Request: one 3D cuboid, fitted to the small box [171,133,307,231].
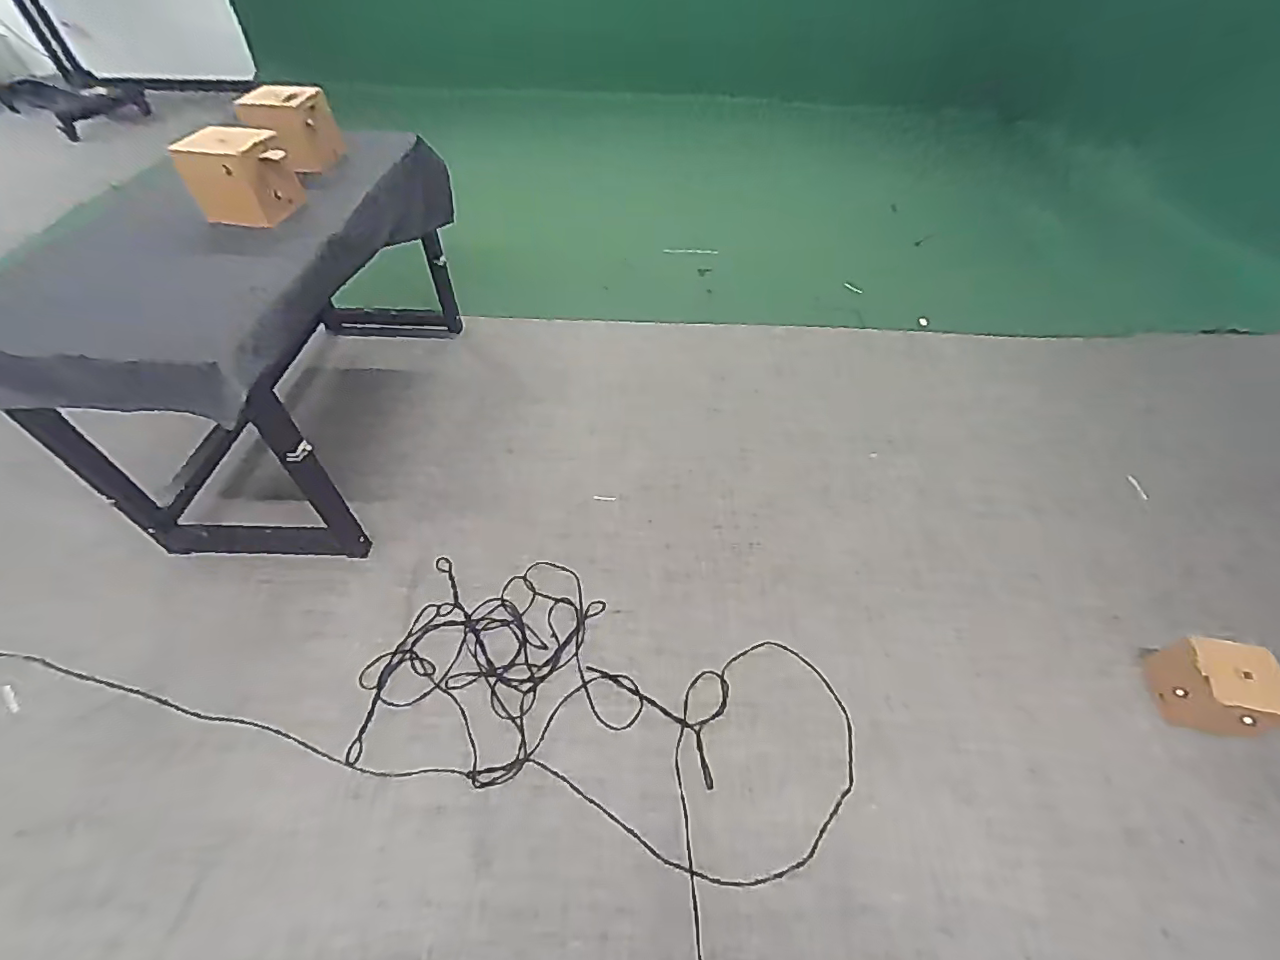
[{"bbox_3d":[-0.978,-0.736,1.338,0.179,0.176,0.168,7,49,4],"label":"small box"}]

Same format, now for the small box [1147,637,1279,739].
[{"bbox_3d":[1.374,0.499,1.289,0.179,0.176,0.168,10,51,6],"label":"small box"}]
